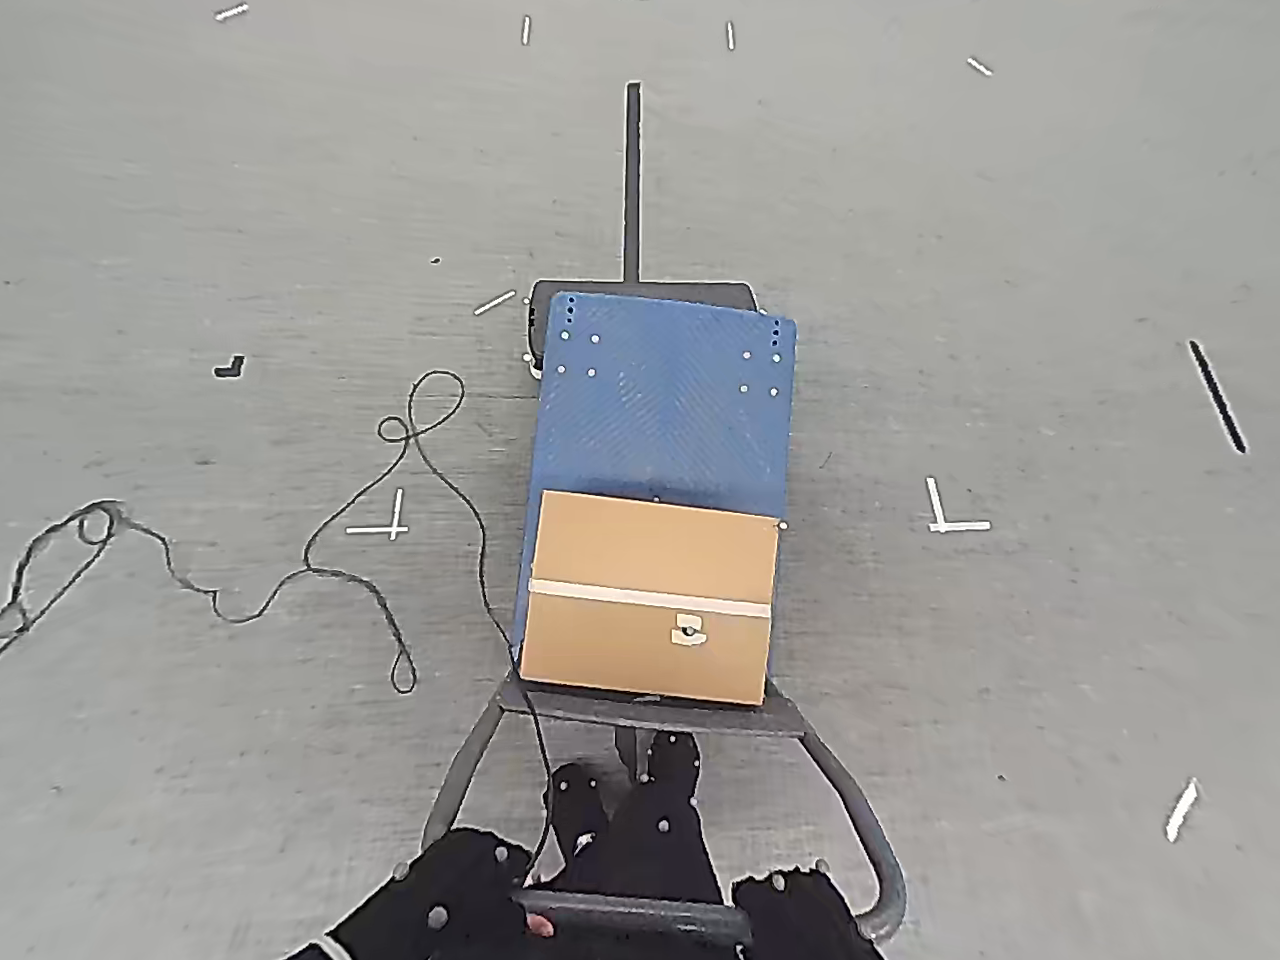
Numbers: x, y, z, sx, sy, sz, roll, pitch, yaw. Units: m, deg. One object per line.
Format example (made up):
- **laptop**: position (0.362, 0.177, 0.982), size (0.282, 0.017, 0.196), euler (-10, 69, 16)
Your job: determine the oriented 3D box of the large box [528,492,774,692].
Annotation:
- **large box**: position (0.013, 0.203, 1.072), size (0.408, 0.320, 0.320), euler (7, 86, -3)
